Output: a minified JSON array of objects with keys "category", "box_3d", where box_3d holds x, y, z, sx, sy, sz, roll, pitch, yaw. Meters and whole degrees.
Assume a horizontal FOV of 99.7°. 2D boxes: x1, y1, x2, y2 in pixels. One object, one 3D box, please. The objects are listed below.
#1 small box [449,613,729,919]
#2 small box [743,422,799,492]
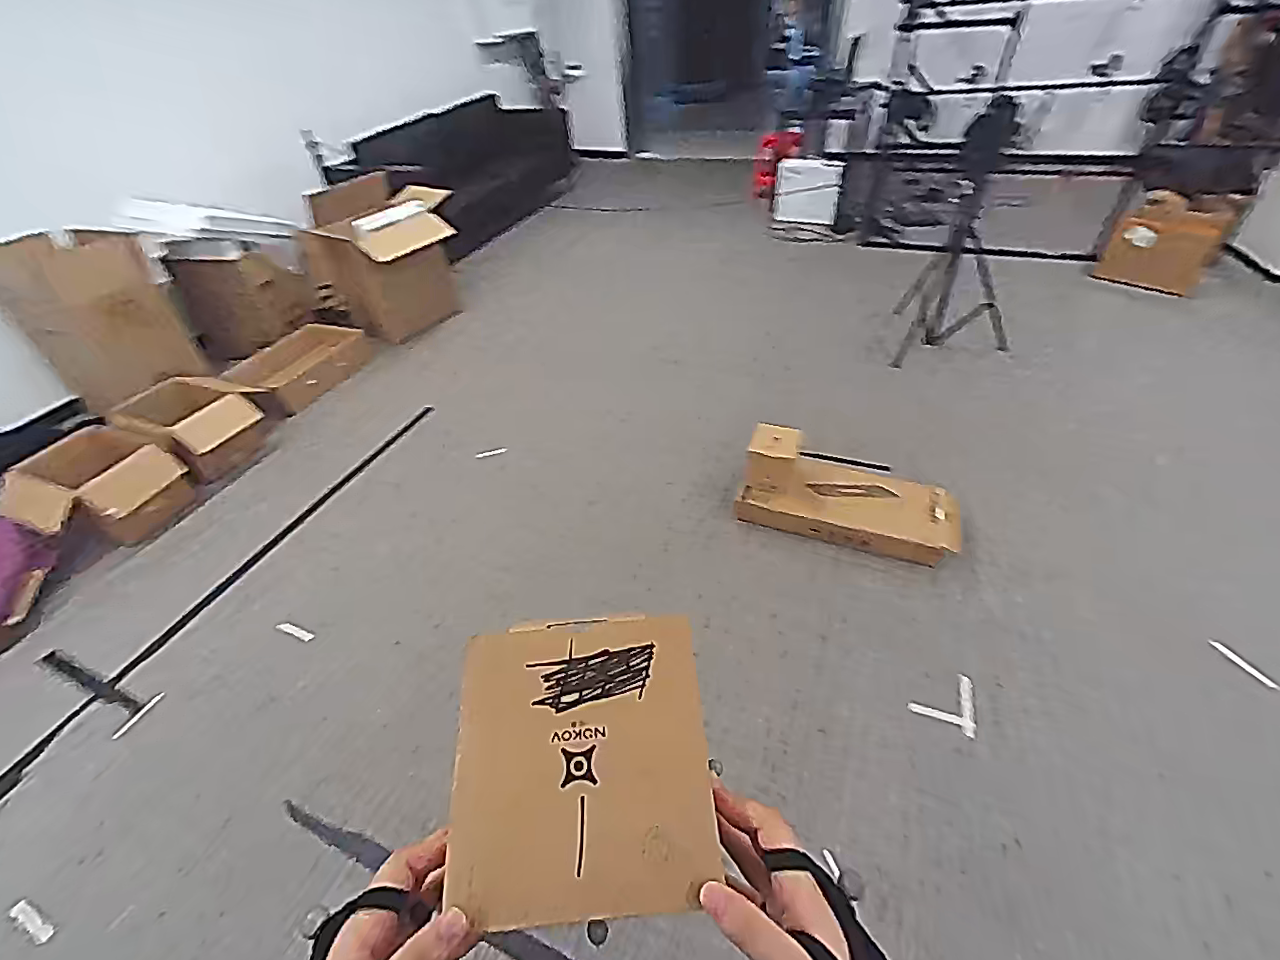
[{"category":"small box","box_3d":[-0.031,0.223,0.423,0.168,0.176,0.179,-5,54,0]},{"category":"small box","box_3d":[0.480,-0.085,1.994,0.168,0.176,0.179,12,45,18]}]
